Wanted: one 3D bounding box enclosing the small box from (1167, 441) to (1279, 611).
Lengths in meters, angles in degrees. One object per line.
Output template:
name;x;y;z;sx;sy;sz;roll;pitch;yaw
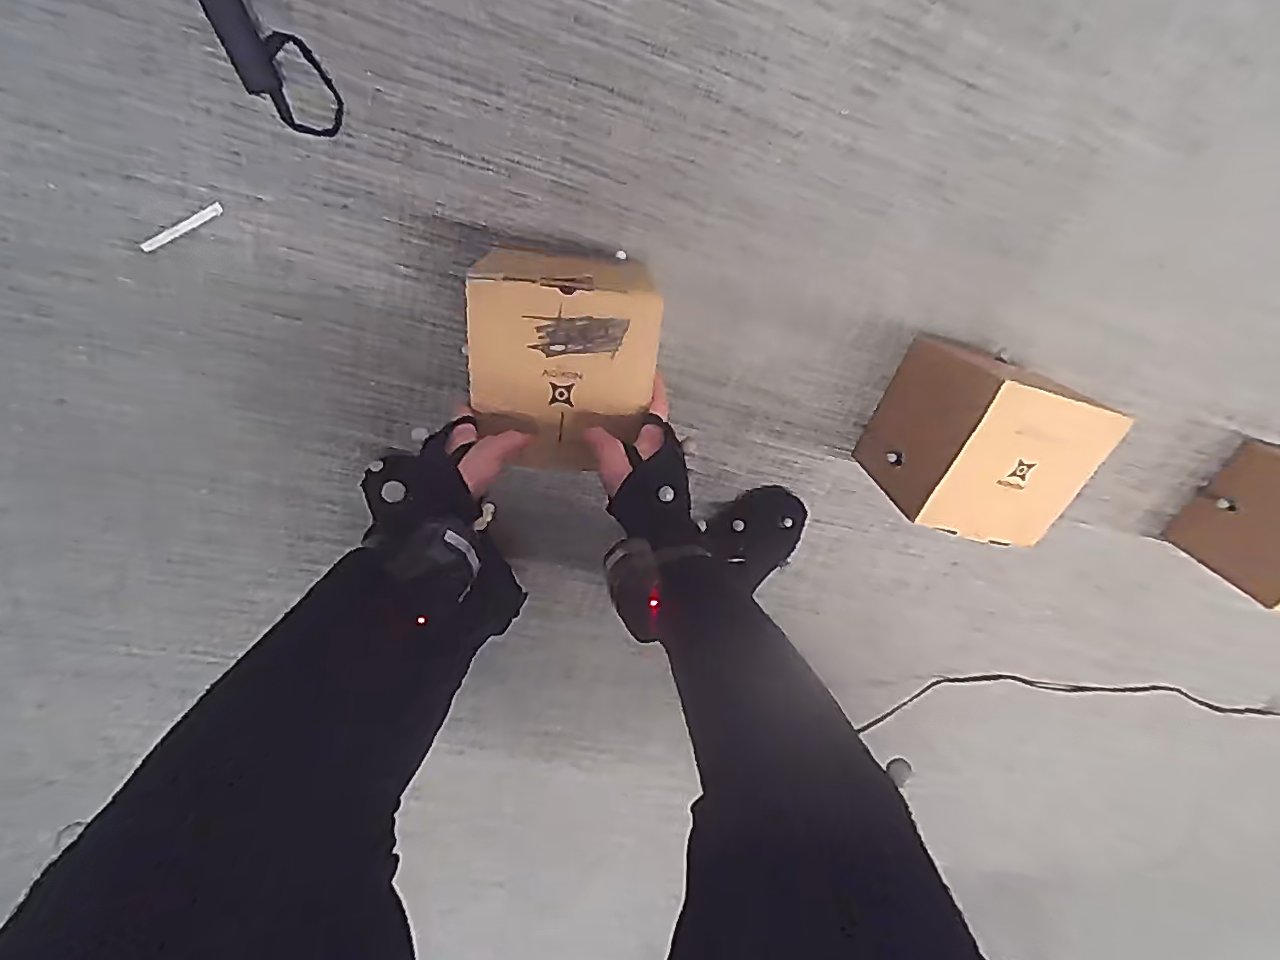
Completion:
small box;0.916;0.072;0.760;0.168;0.176;0.179;13;118;-11

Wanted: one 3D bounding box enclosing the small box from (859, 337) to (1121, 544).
small box;0.395;-0.052;0.653;0.168;0.176;0.179;12;117;-12
